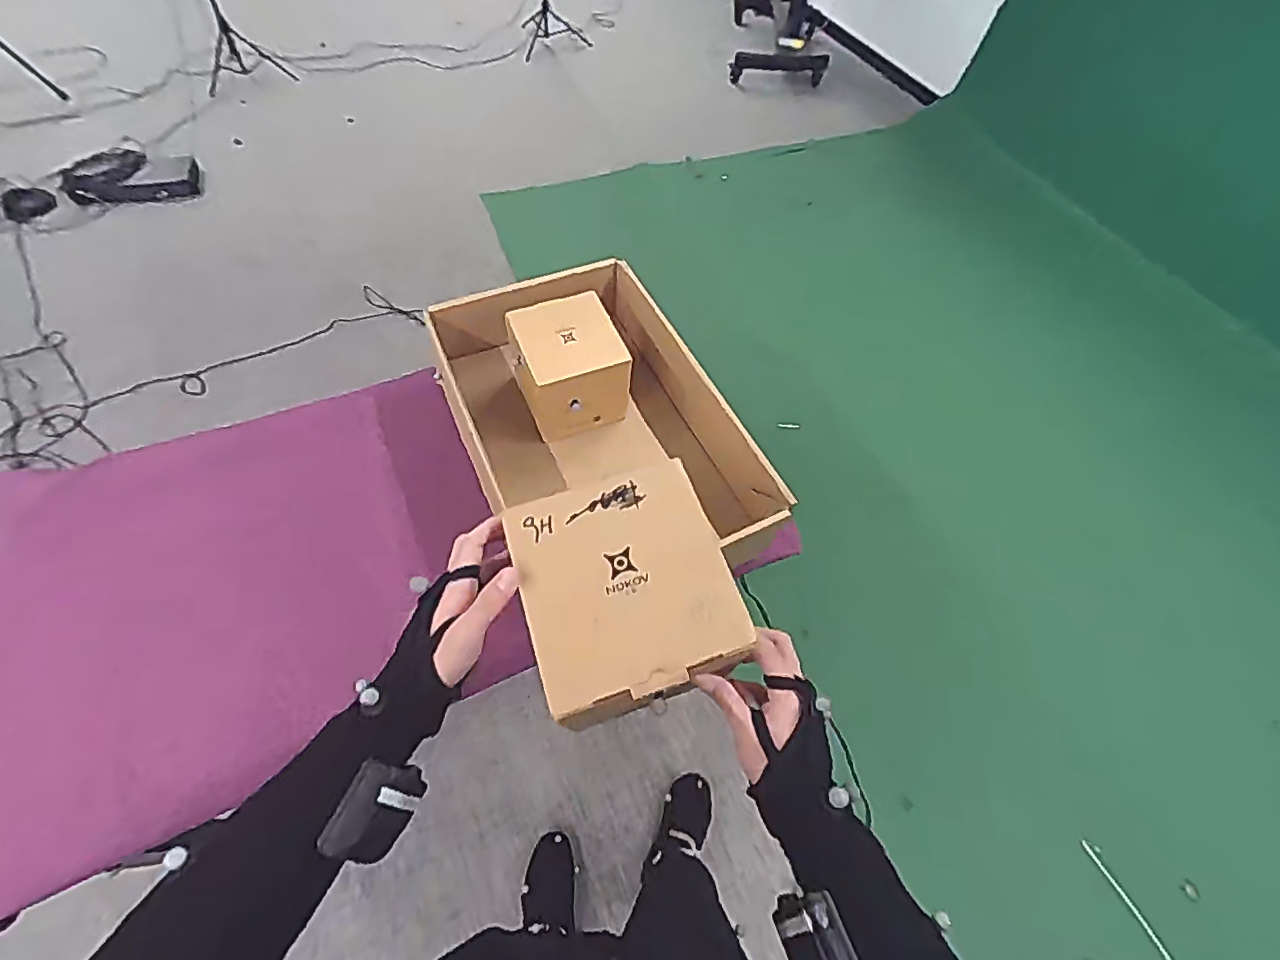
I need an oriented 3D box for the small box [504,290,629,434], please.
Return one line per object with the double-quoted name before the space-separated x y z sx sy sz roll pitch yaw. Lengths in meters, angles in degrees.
"small box" -0.128 -0.203 0.972 0.168 0.176 0.179 -20 64 -15
